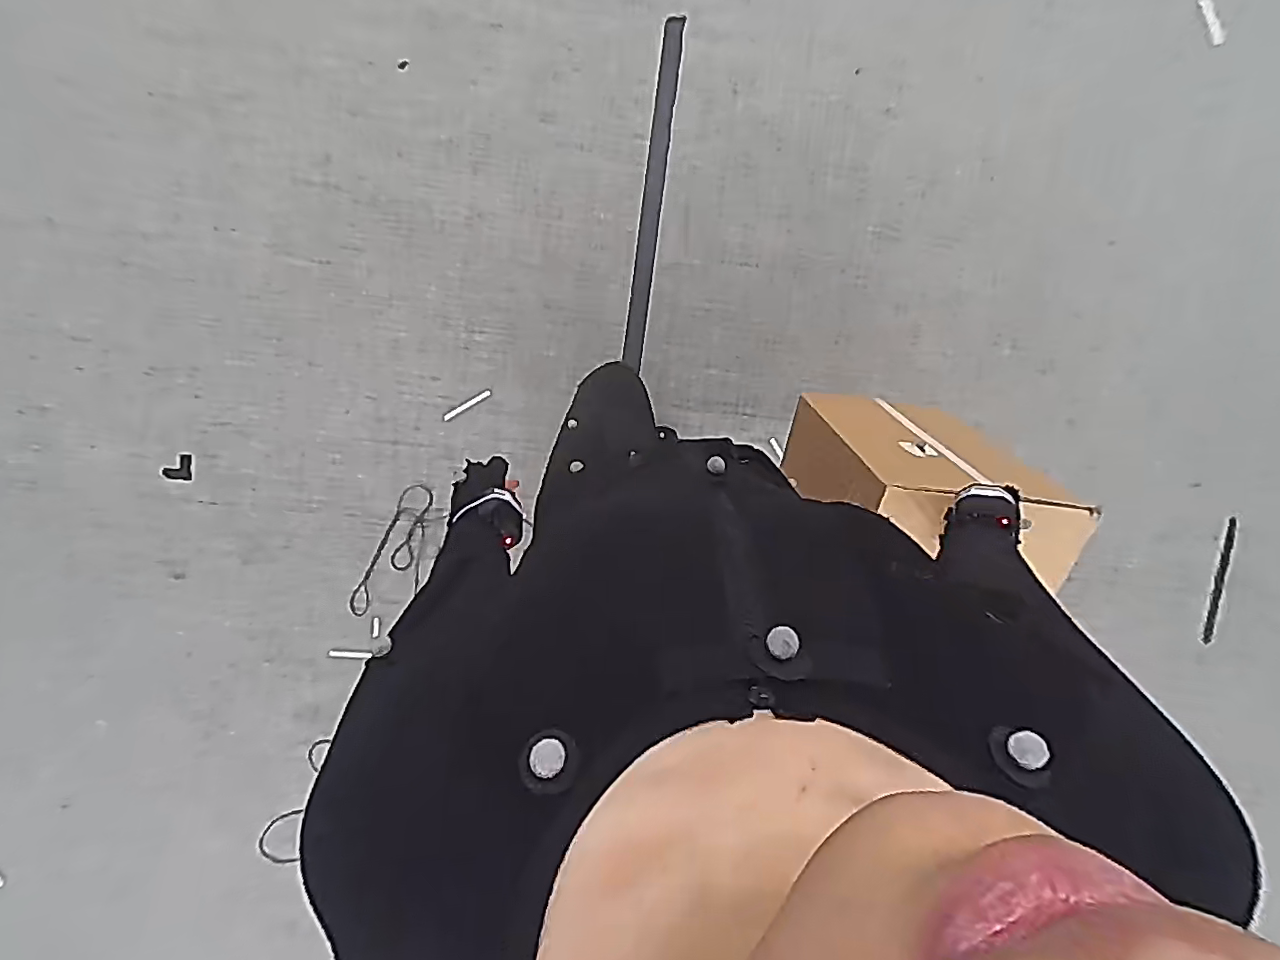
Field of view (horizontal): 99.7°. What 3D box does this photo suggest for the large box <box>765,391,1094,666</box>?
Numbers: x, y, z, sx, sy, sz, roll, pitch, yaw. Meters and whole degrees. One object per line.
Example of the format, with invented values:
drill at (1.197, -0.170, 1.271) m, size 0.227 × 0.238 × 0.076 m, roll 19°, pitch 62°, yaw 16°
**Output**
large box at (0.454, 0.067, 0.979) m, size 0.320 × 0.408 × 0.320 m, roll 6°, pitch 118°, yaw -5°
